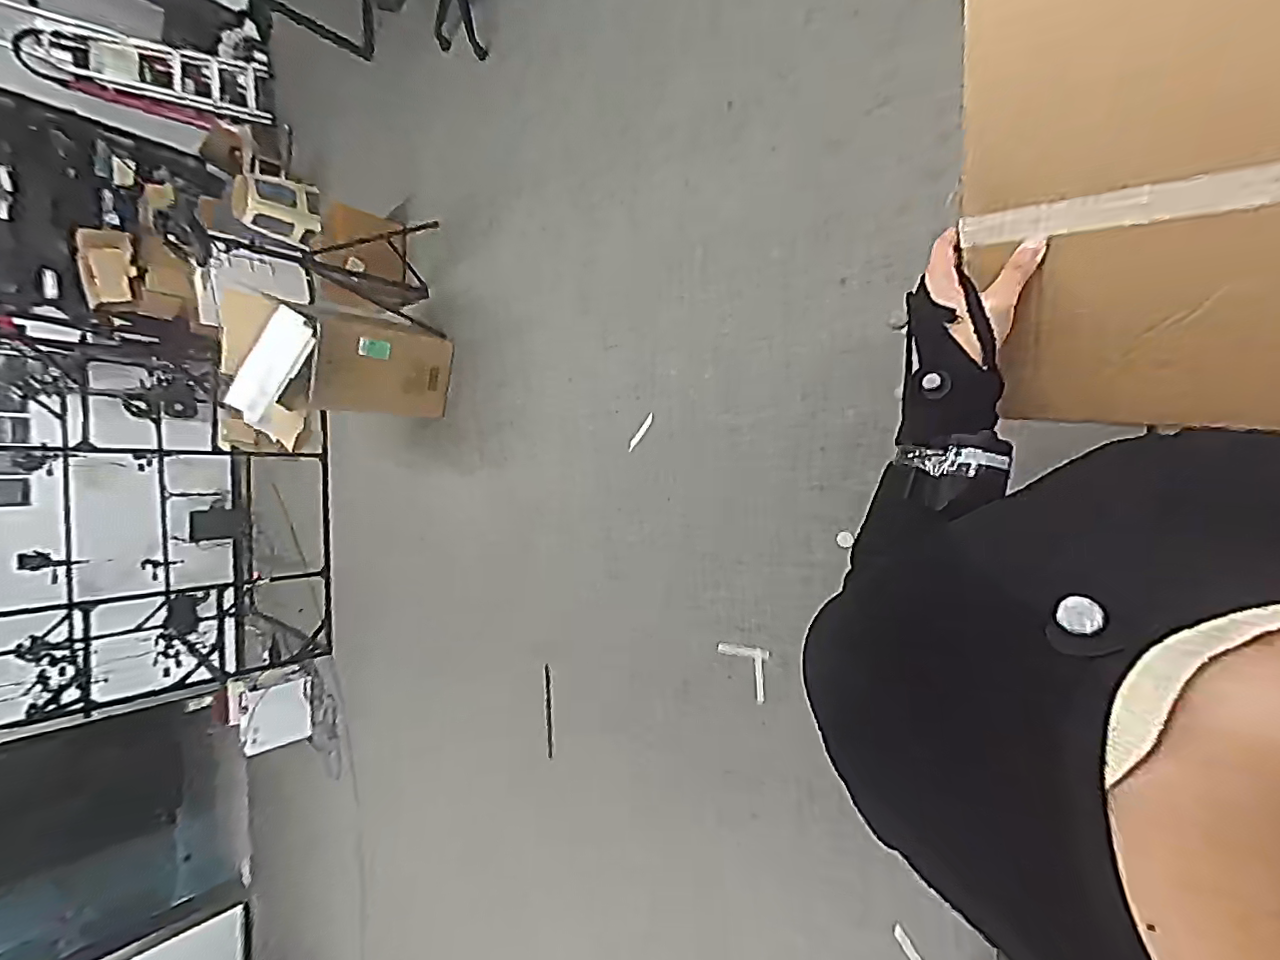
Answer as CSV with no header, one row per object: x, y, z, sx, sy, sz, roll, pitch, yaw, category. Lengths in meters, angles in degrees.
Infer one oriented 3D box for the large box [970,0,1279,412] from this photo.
0.495,-0.248,0.374,0.408,0.320,0.320,9,126,43,large box
